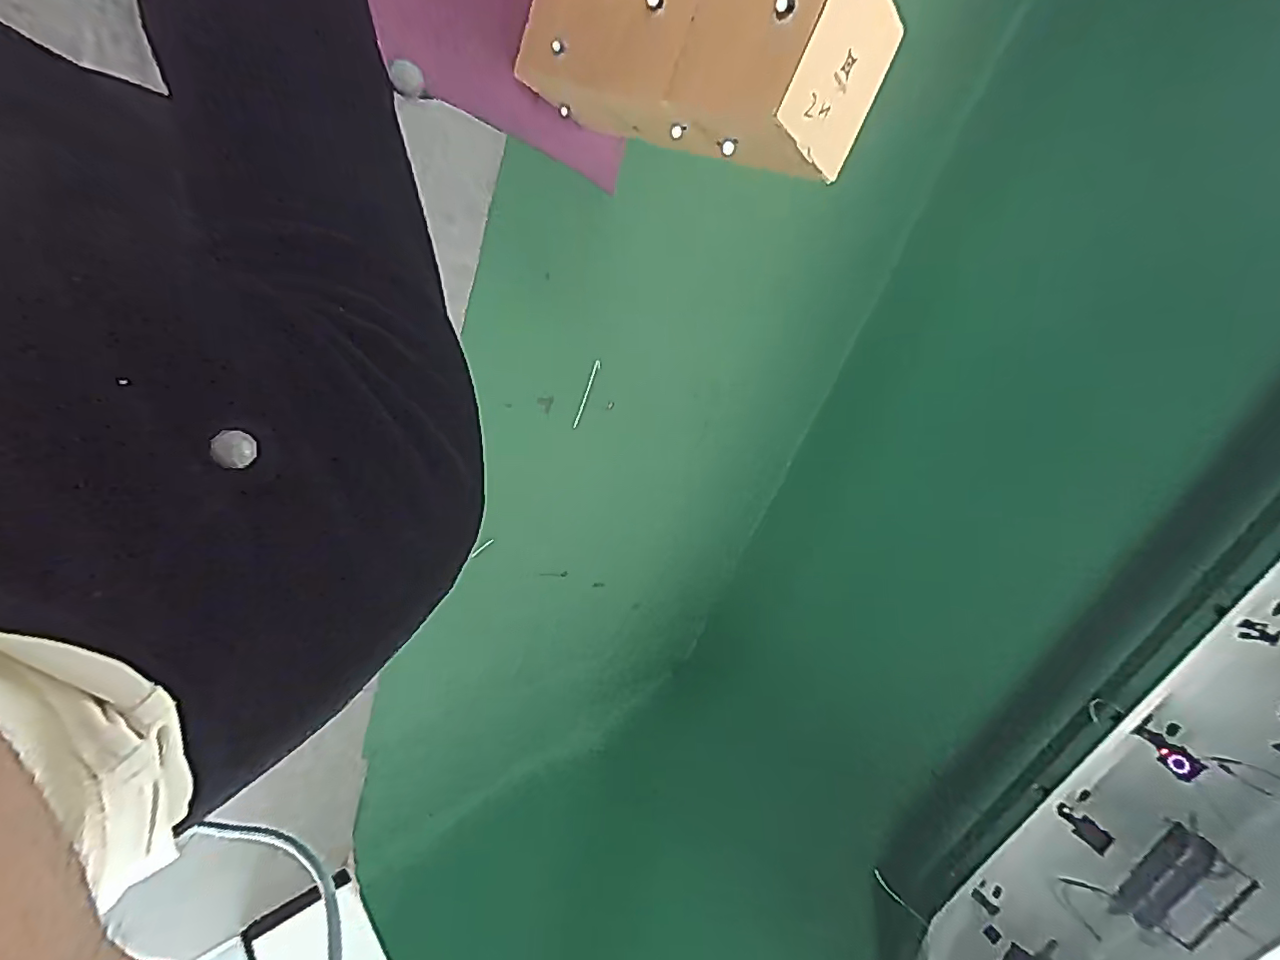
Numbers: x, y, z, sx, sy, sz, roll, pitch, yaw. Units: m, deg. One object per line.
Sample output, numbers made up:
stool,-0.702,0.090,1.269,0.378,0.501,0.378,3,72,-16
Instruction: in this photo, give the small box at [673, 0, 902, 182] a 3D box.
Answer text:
small box,0.166,-0.488,0.634,0.168,0.176,0.179,1,119,-50

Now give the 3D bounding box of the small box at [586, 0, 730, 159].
small box,0.053,-0.568,0.724,0.168,0.176,0.179,0,119,-50
